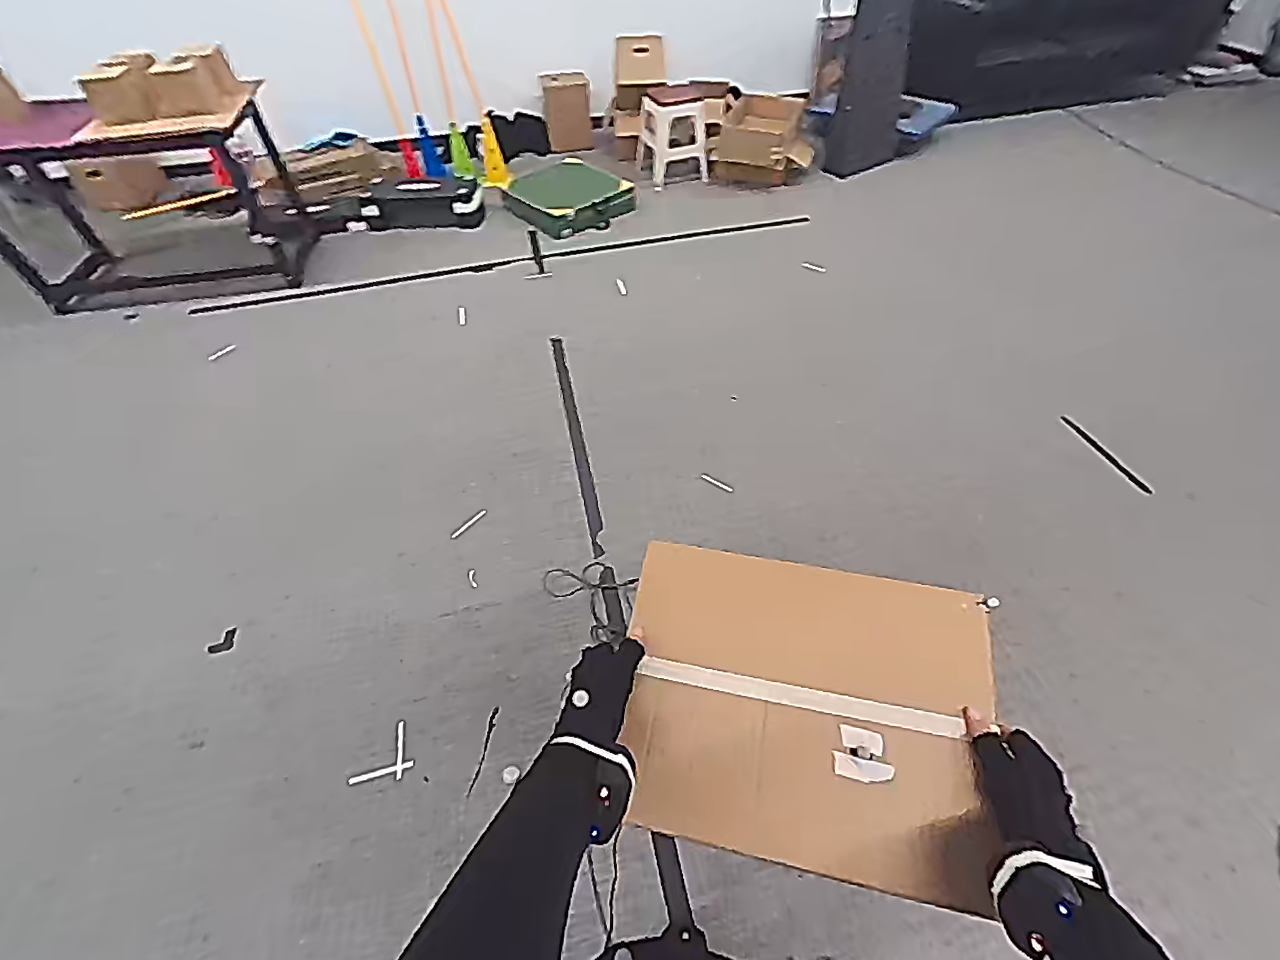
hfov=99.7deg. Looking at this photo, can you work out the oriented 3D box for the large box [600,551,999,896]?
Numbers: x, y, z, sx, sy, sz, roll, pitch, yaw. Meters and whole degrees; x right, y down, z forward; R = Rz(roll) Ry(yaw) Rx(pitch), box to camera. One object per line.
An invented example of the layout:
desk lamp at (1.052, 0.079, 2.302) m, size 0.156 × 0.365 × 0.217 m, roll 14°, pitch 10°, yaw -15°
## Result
large box at (0.185, 0.321, 0.745) m, size 0.408 × 0.320 × 0.320 m, roll 8°, pitch 61°, yaw 9°
